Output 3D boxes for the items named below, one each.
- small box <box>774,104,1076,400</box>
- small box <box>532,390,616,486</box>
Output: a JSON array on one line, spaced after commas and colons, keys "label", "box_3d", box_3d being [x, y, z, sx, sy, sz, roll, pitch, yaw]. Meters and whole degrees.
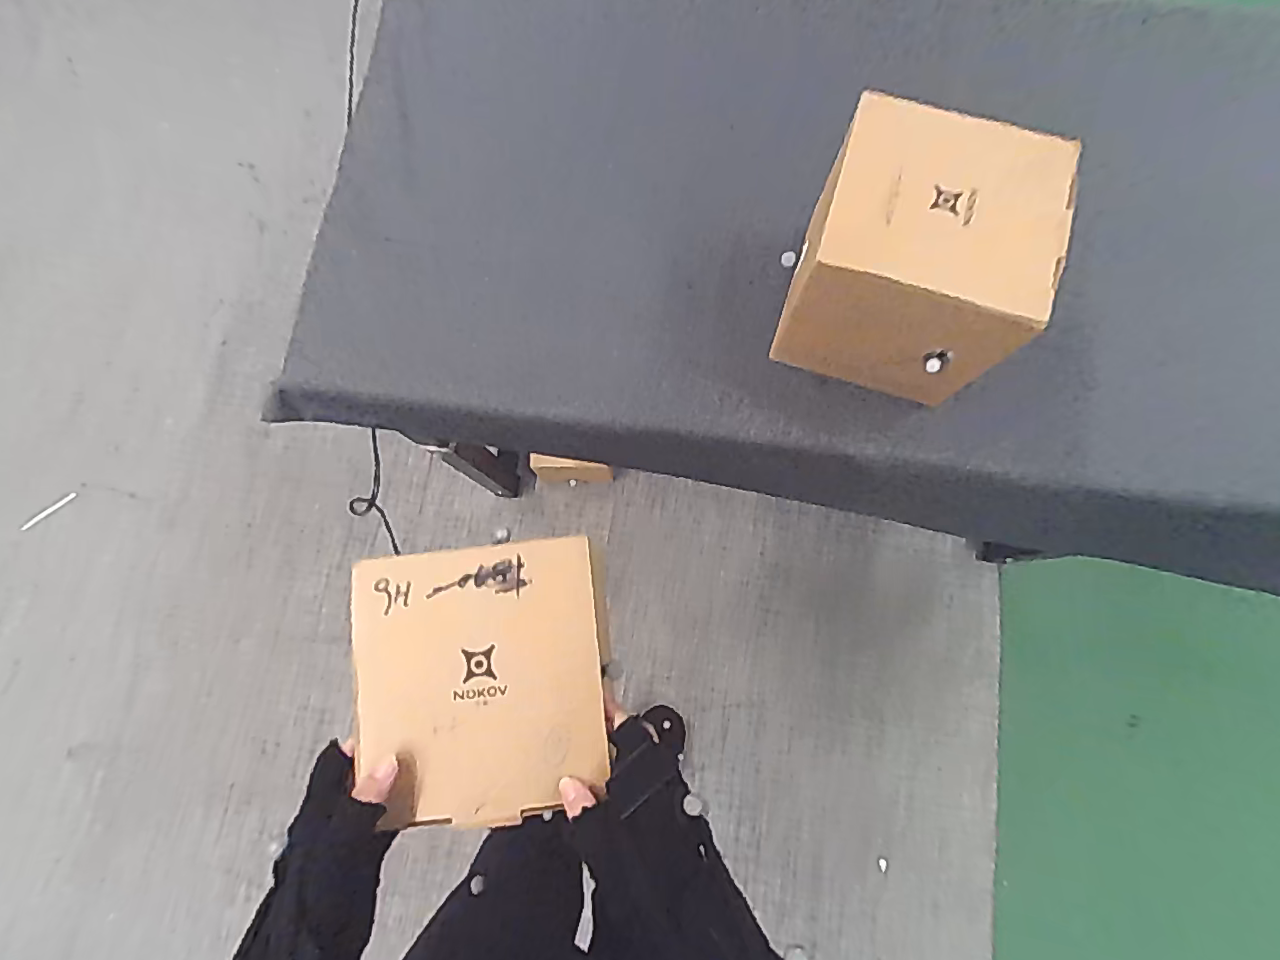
[{"label": "small box", "box_3d": [0.242, -0.191, 0.498, 0.179, 0.176, 0.168, 17, 77, 5]}, {"label": "small box", "box_3d": [-0.143, -0.091, 1.225, 0.168, 0.176, 0.179, 0, 78, 1]}]
